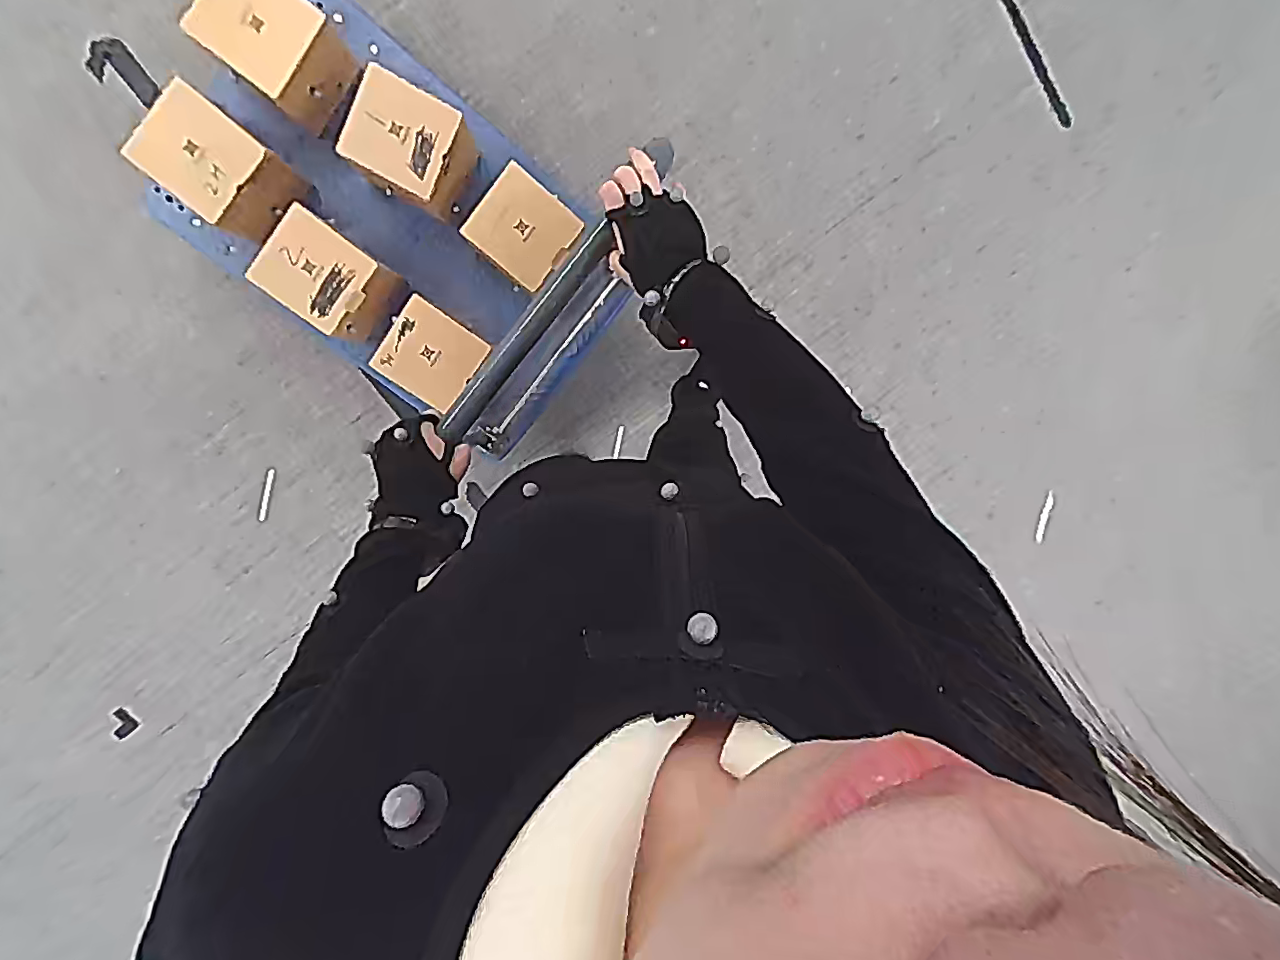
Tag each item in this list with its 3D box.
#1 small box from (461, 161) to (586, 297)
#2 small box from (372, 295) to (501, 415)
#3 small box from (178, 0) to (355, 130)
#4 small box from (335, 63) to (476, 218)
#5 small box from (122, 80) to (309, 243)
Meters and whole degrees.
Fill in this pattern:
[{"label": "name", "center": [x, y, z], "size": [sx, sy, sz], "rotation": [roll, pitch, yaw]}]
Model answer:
[{"label": "small box", "center": [-0.227, -0.492, 1.093], "size": [0.179, 0.176, 0.168], "rotation": [38, 94, -12]}, {"label": "small box", "center": [-0.405, -0.254, 1.116], "size": [0.179, 0.176, 0.168], "rotation": [33, 94, -12]}, {"label": "small box", "center": [-0.659, -0.779, 0.981], "size": [0.179, 0.176, 0.168], "rotation": [34, 95, -12]}, {"label": "small box", "center": [-0.436, -0.632, 1.038], "size": [0.179, 0.176, 0.168], "rotation": [25, 97, -10]}, {"label": "small box", "center": [-0.772, -0.574, 1.006], "size": [0.179, 0.176, 0.168], "rotation": [39, 94, -14]}]
